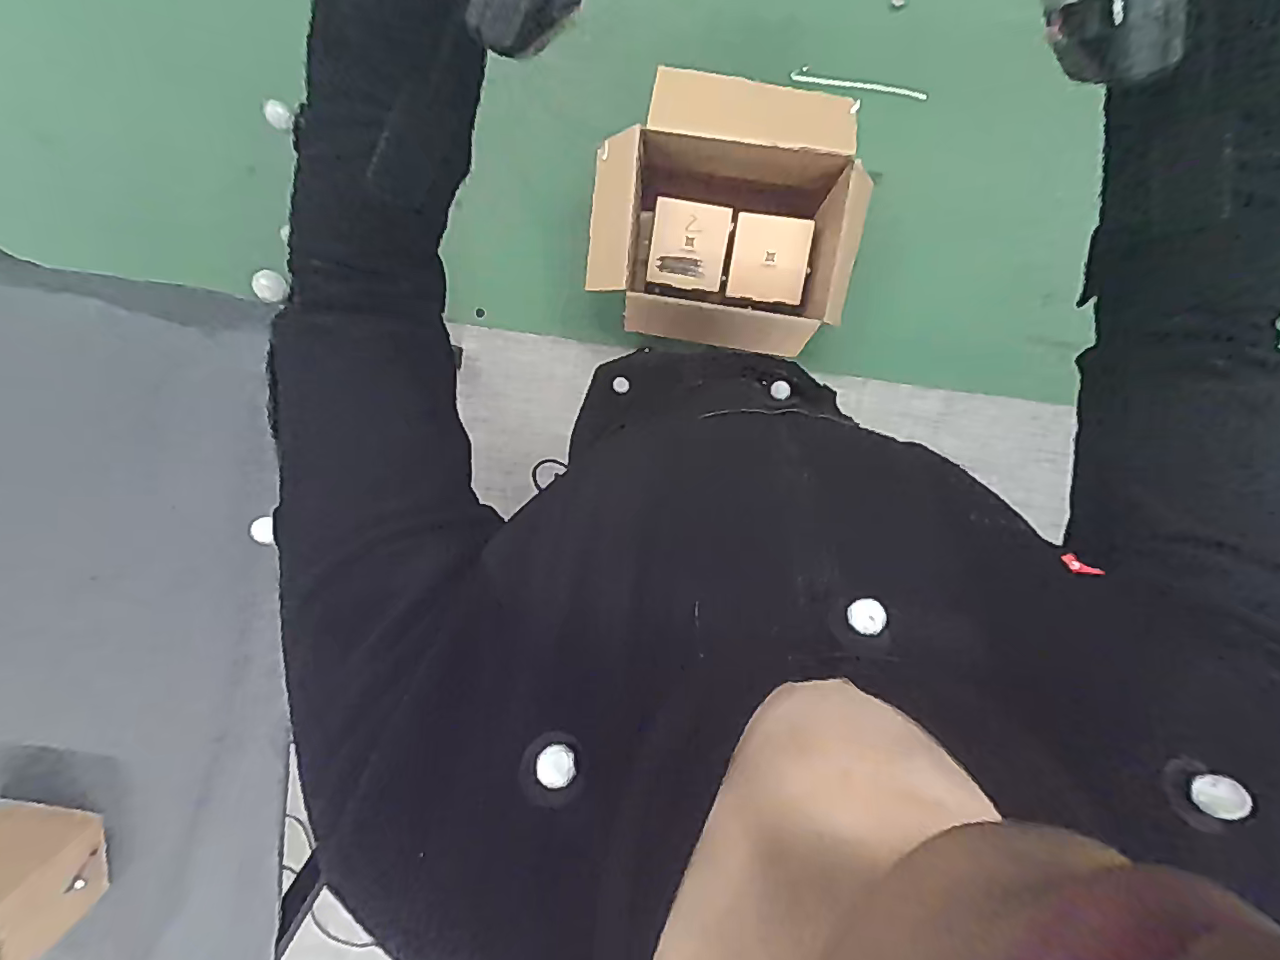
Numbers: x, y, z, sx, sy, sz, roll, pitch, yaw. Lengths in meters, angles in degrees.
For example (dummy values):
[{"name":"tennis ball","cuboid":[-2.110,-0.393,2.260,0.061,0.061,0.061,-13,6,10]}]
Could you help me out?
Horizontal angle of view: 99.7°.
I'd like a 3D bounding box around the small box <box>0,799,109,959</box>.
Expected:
[{"name":"small box","cuboid":[-0.988,0.629,0.833,0.179,0.176,0.168,10,104,-2]}]
